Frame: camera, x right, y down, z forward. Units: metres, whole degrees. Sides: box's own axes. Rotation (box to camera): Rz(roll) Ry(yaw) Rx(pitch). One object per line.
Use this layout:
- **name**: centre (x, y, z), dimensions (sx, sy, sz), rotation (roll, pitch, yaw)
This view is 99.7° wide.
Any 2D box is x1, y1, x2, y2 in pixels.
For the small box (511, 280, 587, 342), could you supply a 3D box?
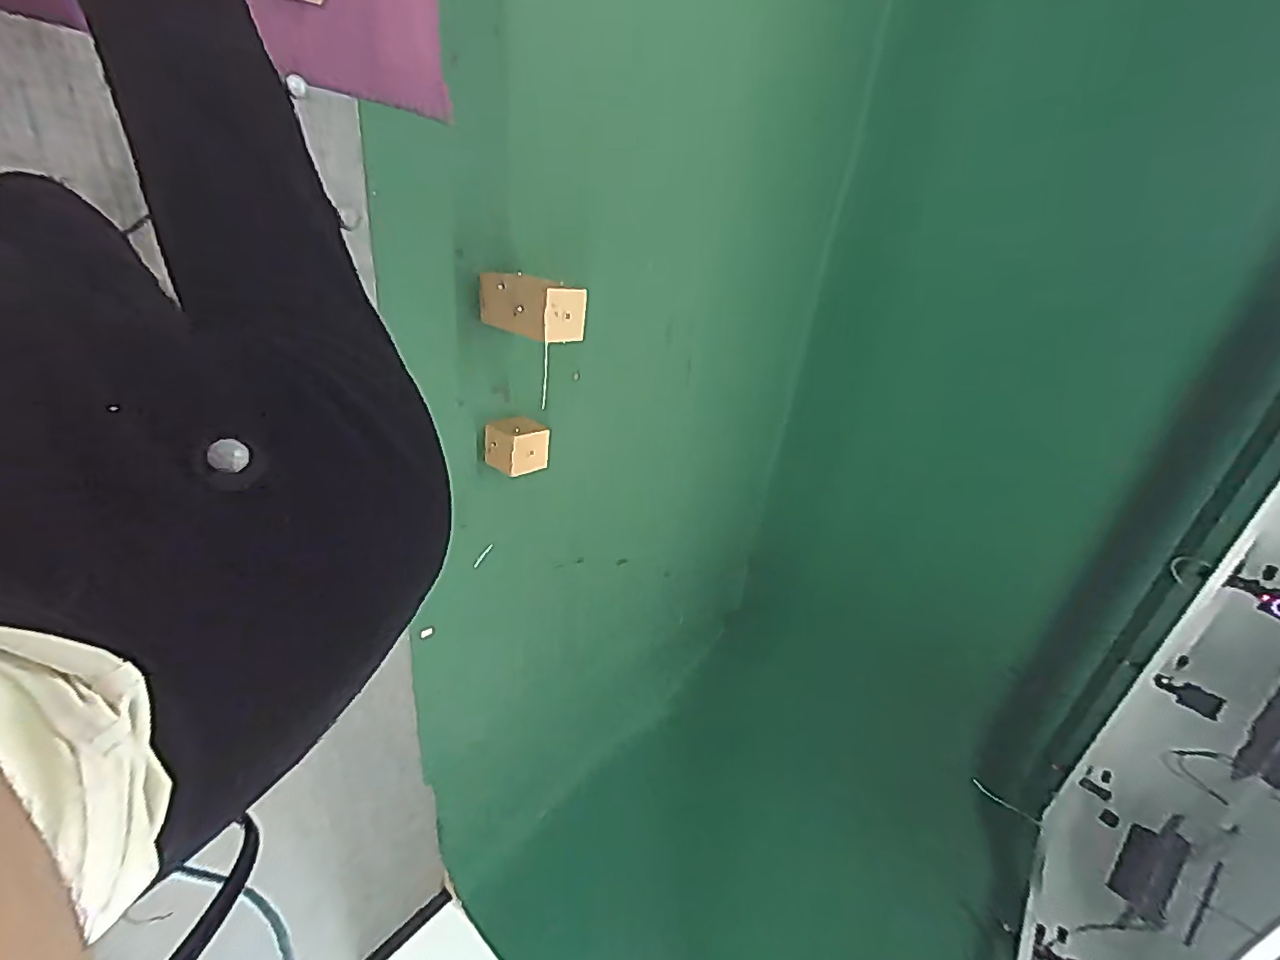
- **small box**: centre (-0.297, -0.552, 1.763), dimensions (0.179, 0.176, 0.168), rotation (-20, 126, -47)

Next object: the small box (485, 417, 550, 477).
- **small box**: centre (-0.477, -0.134, 2.098), dimensions (0.179, 0.176, 0.168), rotation (-21, 128, -46)
